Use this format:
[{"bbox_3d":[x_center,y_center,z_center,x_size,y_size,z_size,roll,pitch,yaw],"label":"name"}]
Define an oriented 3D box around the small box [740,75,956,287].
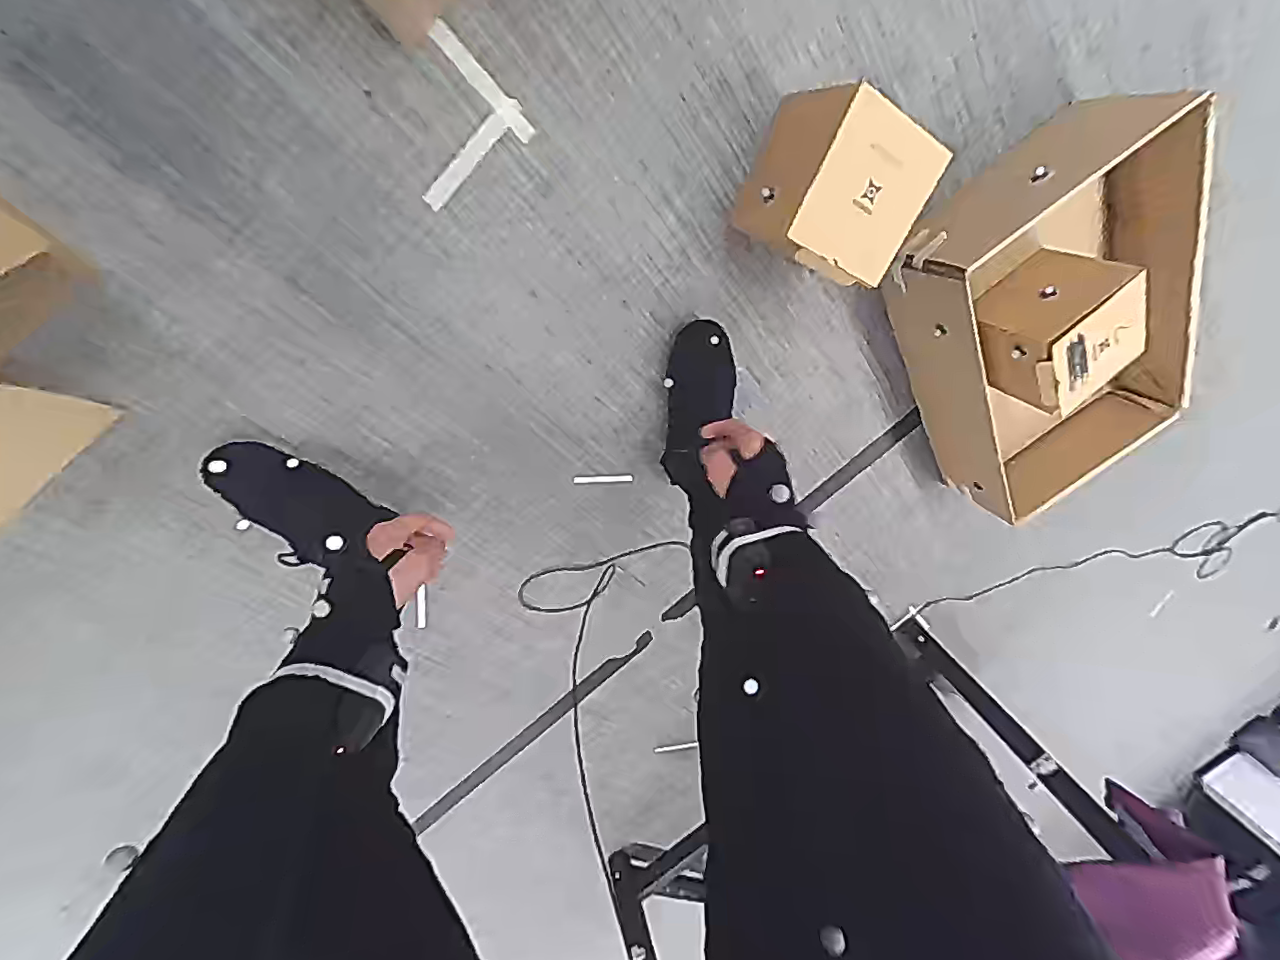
[{"bbox_3d":[0.256,-0.386,0.713,0.168,0.176,0.179,15,114,-27],"label":"small box"}]
